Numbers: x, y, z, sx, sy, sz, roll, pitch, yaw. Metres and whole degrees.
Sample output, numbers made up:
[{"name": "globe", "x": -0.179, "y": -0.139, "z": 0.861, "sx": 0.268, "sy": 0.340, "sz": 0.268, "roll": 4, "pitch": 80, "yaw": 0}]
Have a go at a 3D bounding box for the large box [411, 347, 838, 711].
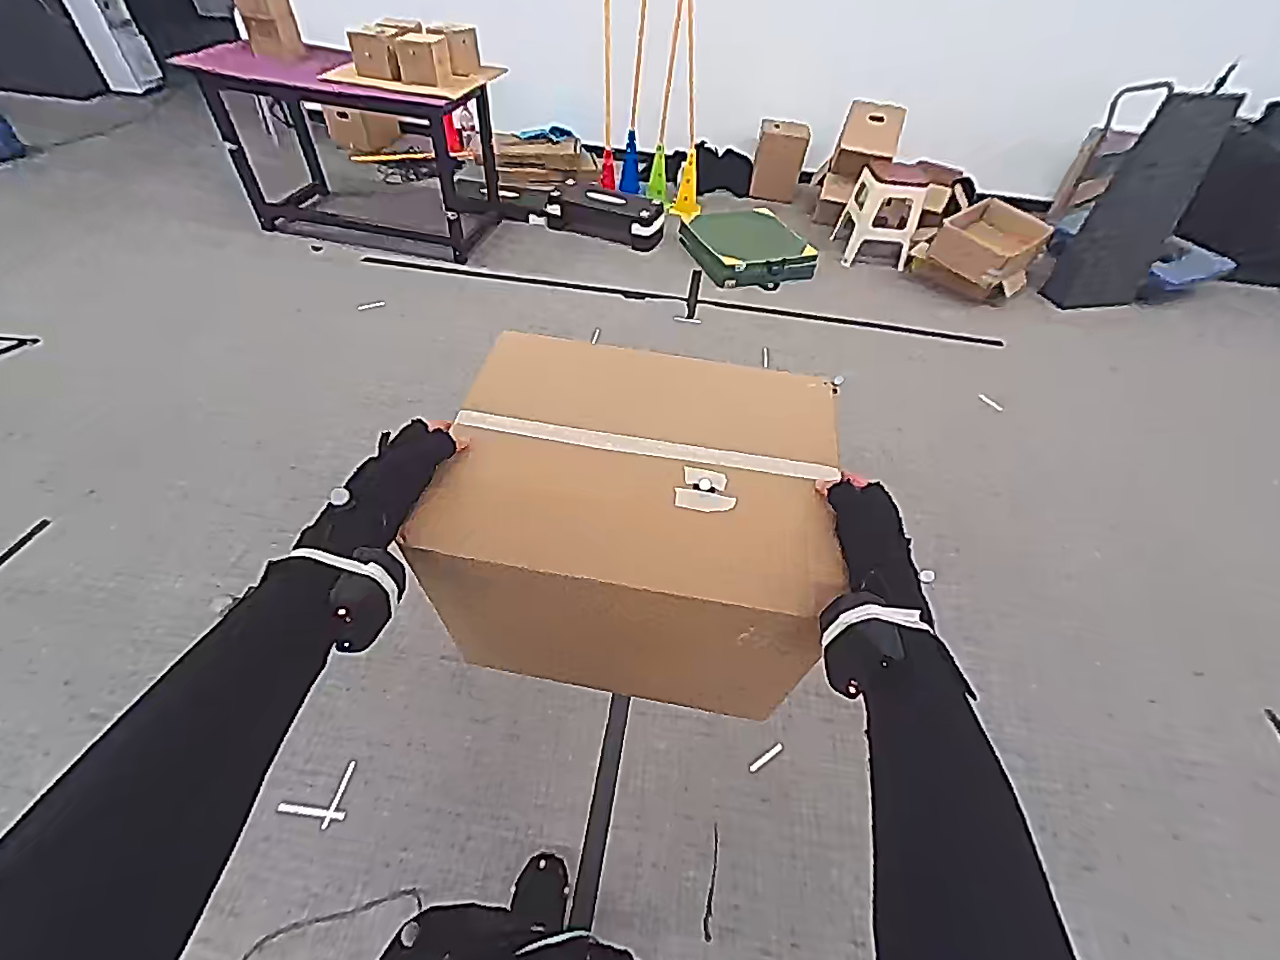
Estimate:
[{"name": "large box", "x": -0.006, "y": 0.070, "z": 0.697, "sx": 0.408, "sy": 0.320, "sz": 0.320, "roll": 10, "pitch": 53, "yaw": 3}]
